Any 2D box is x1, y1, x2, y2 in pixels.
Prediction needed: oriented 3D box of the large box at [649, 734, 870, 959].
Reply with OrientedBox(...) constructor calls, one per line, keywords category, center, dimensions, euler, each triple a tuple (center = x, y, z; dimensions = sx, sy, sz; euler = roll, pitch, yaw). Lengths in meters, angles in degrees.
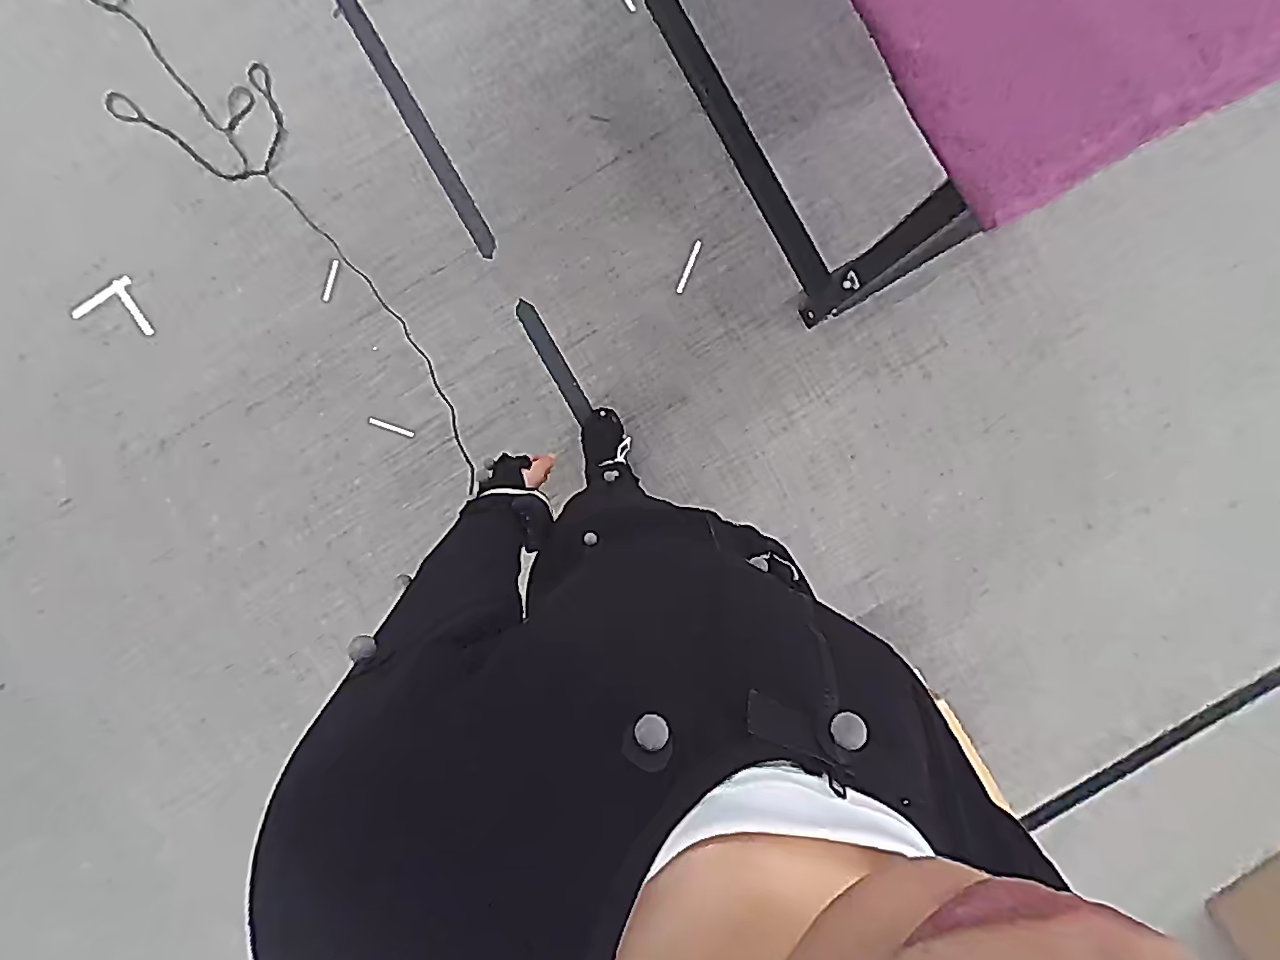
OrientedBox(category="large box", center=(0.256, 0.910, 1.277), dimensions=(0.320, 0.320, 0.408), euler=(-31, 91, 2))
